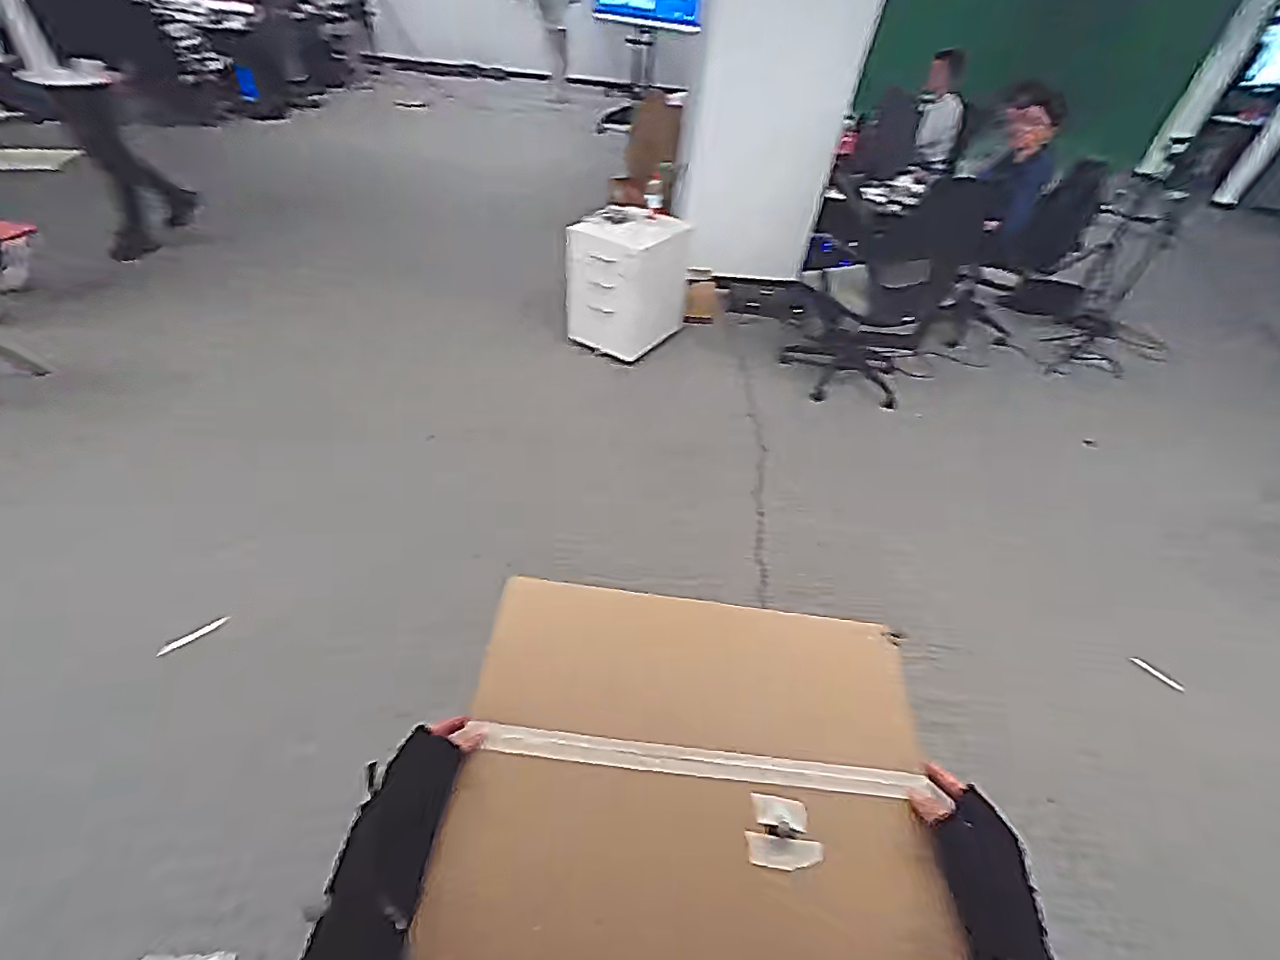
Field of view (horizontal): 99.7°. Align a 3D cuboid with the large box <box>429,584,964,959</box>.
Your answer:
[{"bbox_3d":[0.038,0.345,0.591,0.408,0.320,0.320,8,49,-2],"label":"large box"}]
